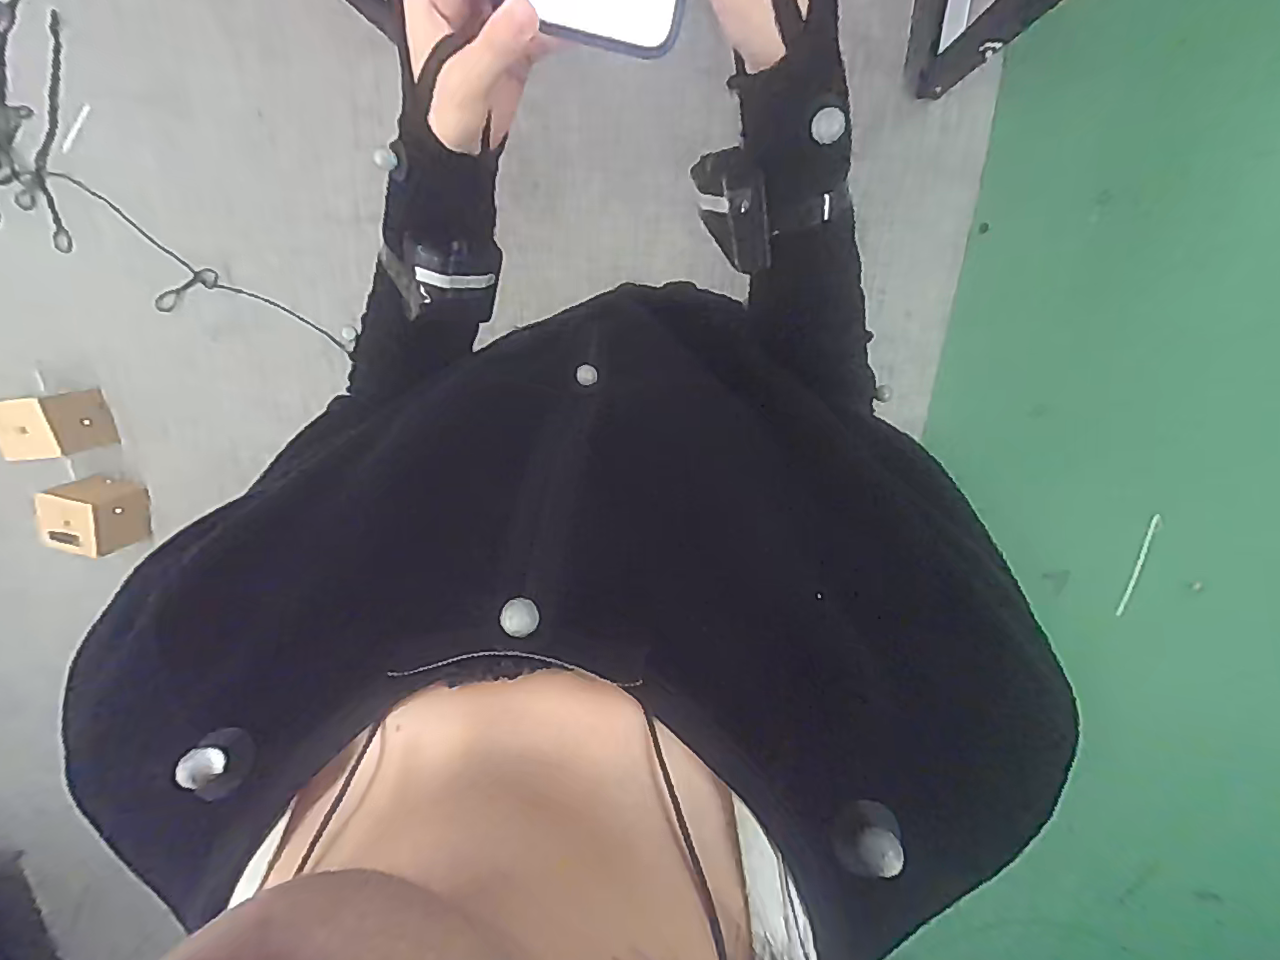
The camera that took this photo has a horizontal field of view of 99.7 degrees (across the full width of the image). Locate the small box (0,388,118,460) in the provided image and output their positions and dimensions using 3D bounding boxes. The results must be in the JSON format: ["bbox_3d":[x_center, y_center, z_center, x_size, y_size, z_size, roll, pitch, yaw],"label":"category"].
[{"bbox_3d":[-1.641,-0.162,1.526,0.179,0.176,0.168,-3,109,6],"label":"small box"}]
